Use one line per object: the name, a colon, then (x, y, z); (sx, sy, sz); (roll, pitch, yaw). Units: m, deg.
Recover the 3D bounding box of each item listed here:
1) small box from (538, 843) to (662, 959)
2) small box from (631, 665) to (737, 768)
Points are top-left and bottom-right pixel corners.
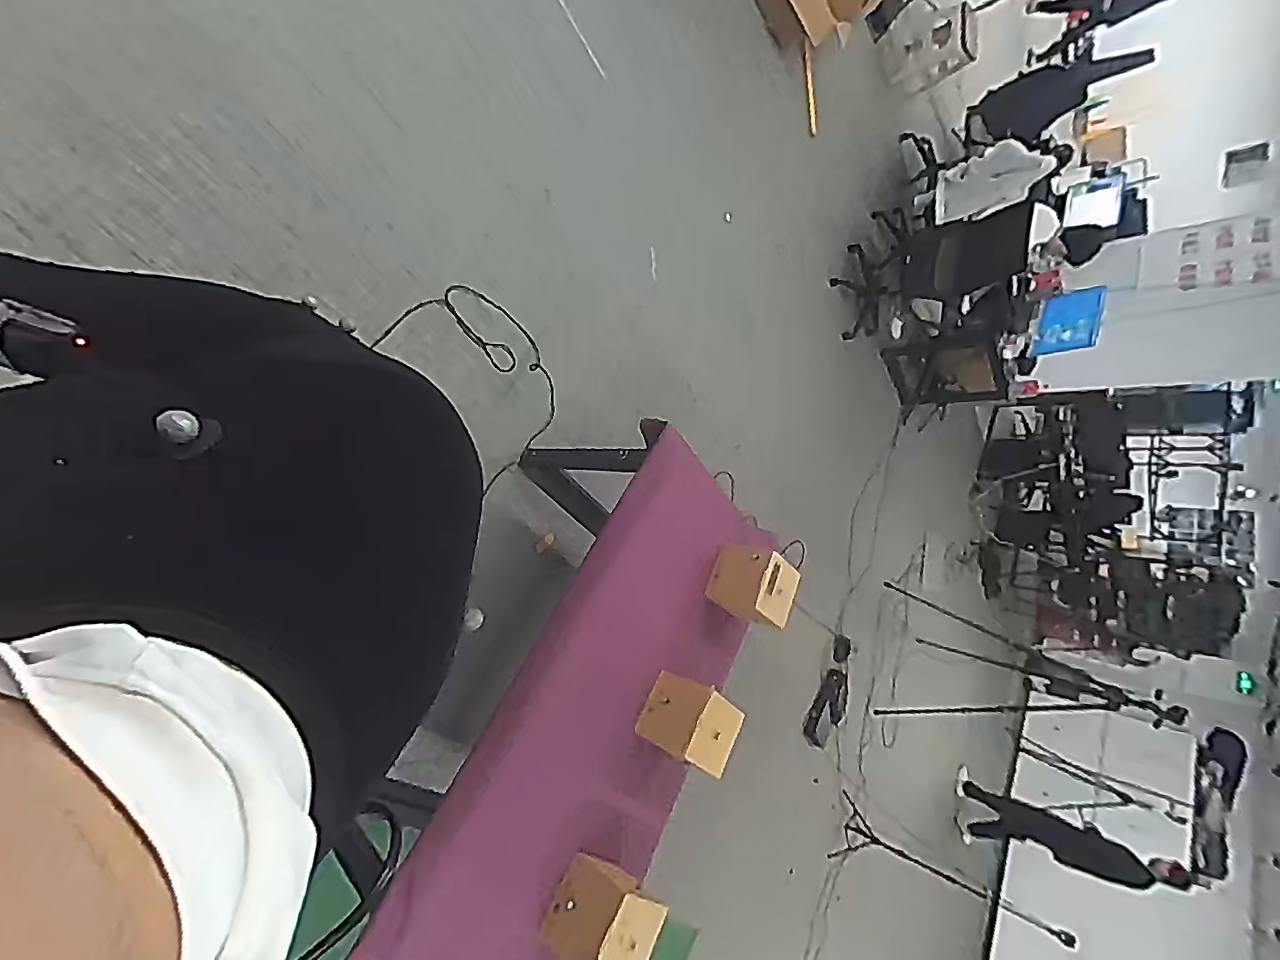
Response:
small box: (-0.088, 0.943, 1.197); (0.179, 0.176, 0.168); (49, 59, -35)
small box: (0.113, 0.593, 1.374); (0.179, 0.176, 0.168); (47, 62, -35)
